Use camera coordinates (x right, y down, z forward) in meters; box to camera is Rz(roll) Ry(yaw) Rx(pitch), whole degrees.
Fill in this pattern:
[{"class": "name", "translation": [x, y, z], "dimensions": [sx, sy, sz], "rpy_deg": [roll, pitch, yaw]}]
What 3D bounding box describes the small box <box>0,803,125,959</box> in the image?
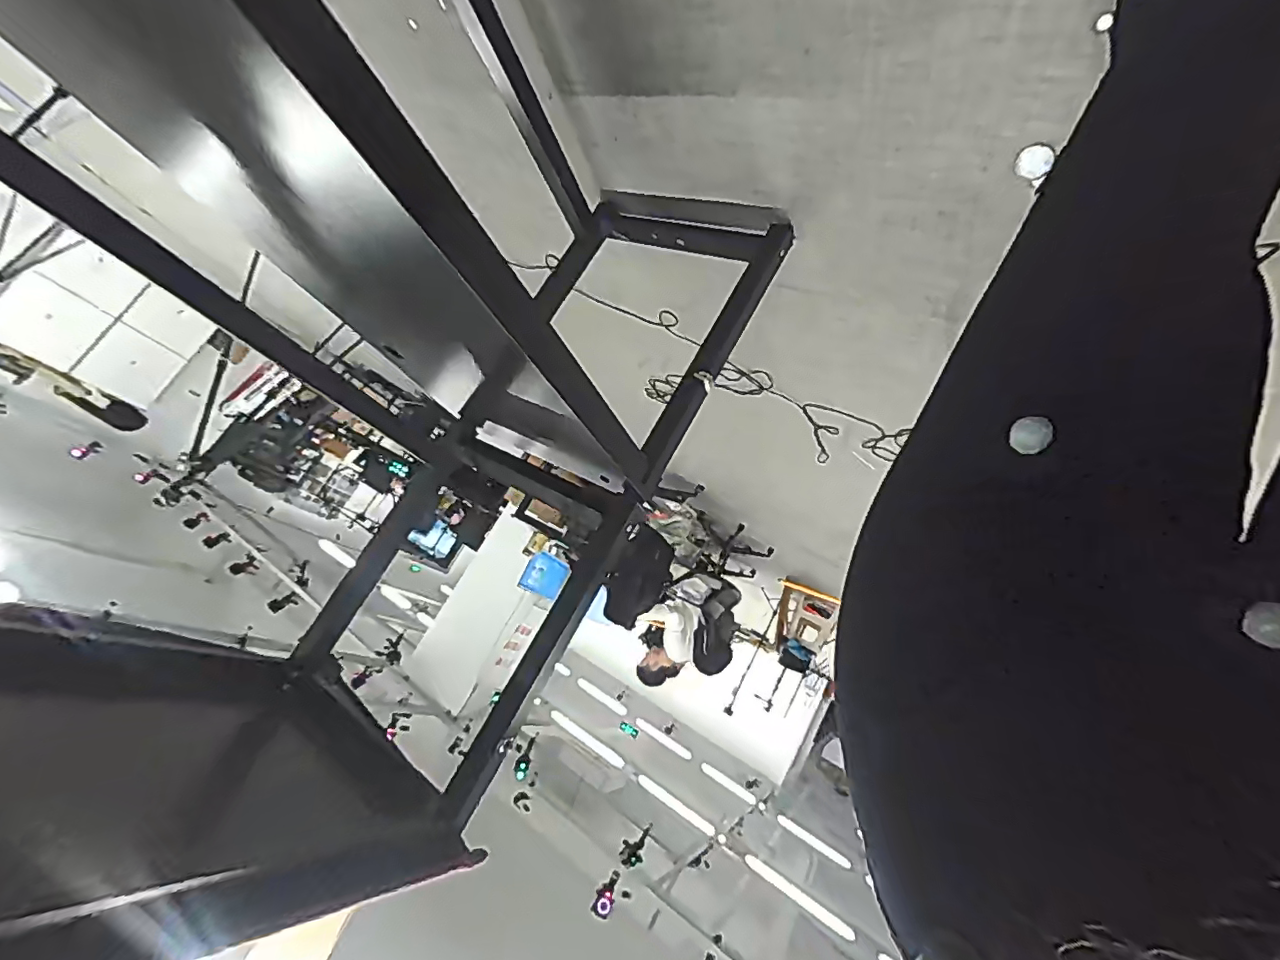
[{"class": "small box", "translation": [-0.684, 0.456, 0.538], "dimensions": [0.168, 0.176, 0.179], "rpy_deg": [25, 166, 28]}]
